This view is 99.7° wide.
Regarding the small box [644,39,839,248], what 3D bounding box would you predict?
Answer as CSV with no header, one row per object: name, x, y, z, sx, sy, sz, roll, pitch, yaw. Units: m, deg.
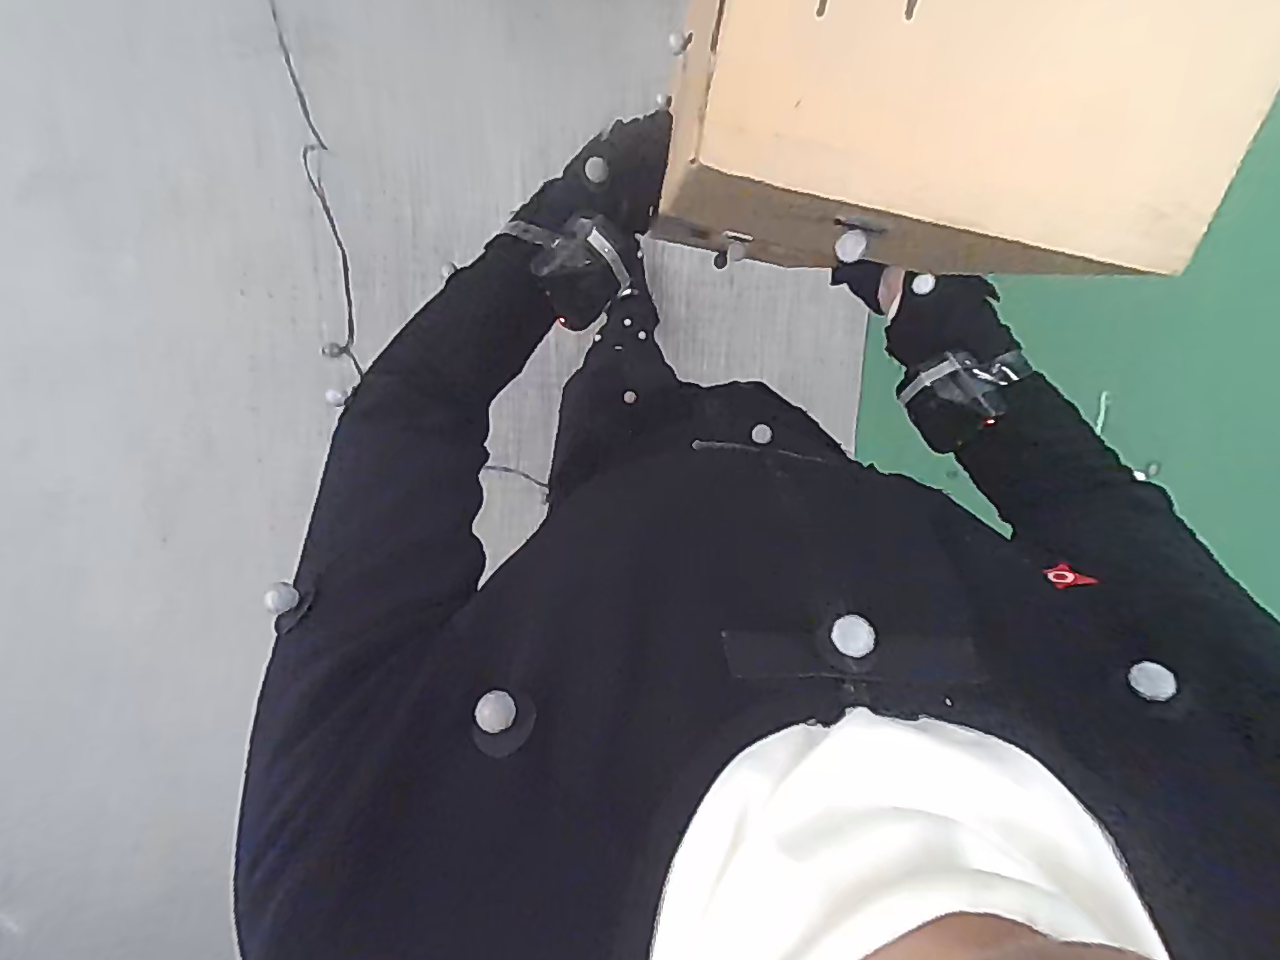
small box,0.106,-0.332,0.527,0.179,0.176,0.168,9,112,-6

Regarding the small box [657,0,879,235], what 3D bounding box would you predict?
small box,0.107,-0.280,0.373,0.168,0.176,0.179,10,113,-5

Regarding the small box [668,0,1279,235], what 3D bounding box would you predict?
small box,0.113,-0.207,0.226,0.179,0.176,0.168,10,112,-5
